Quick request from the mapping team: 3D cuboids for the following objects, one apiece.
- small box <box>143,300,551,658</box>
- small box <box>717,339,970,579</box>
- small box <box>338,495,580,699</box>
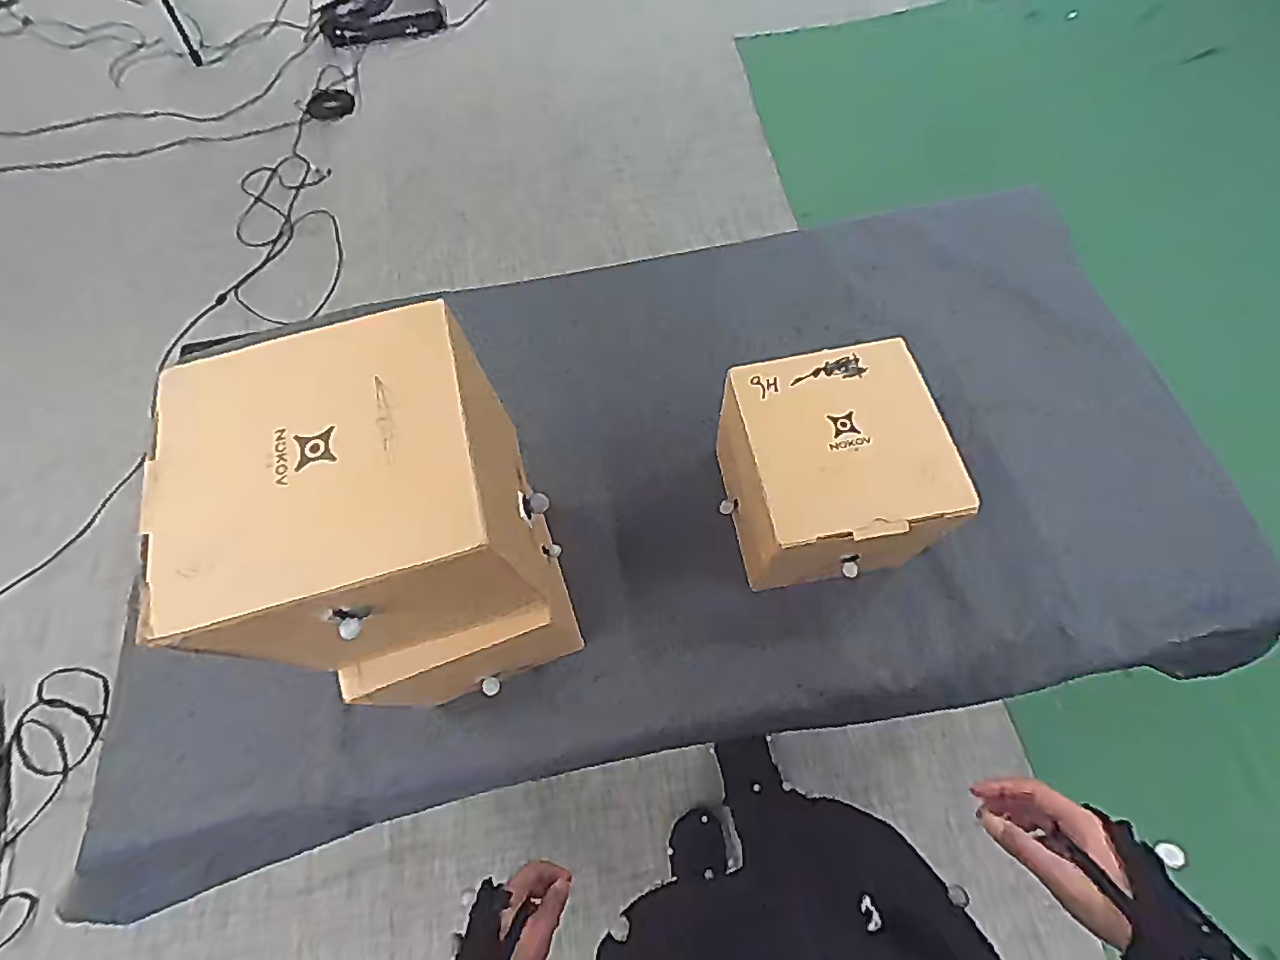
[{"bbox_3d":[-0.175,0.014,0.370,0.179,0.176,0.168,-16,68,-5],"label":"small box"},{"bbox_3d":[0.178,-0.007,0.538,0.168,0.176,0.179,-10,67,-1],"label":"small box"},{"bbox_3d":[-0.167,0.093,0.513,0.168,0.176,0.179,-20,67,-5],"label":"small box"}]
